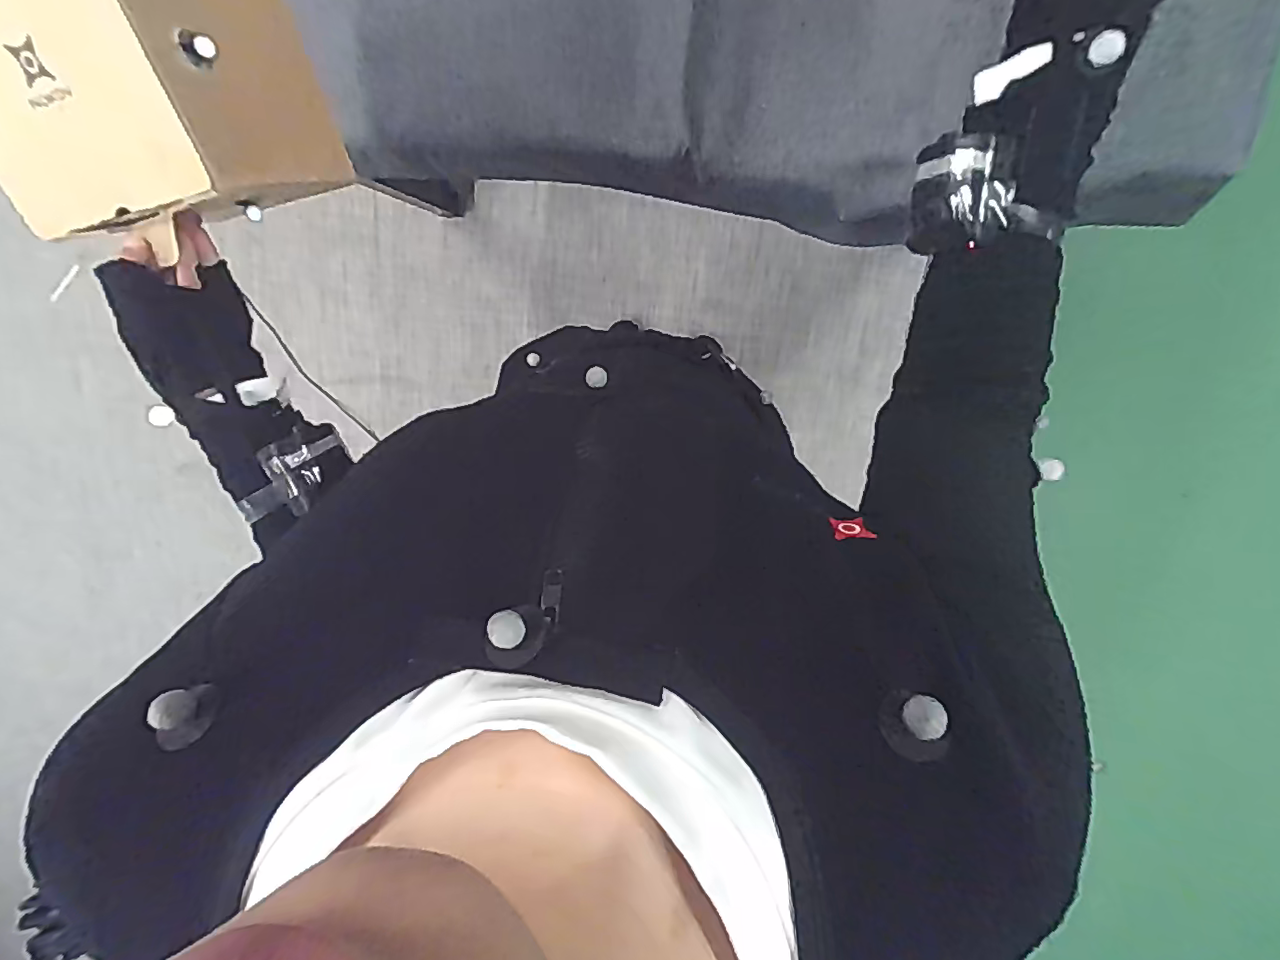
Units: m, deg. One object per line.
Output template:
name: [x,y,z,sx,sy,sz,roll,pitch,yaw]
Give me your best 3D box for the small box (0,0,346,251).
small box: [-0.365,-0.290,0.403,0.168,0.176,0.179,-8,118,13]
